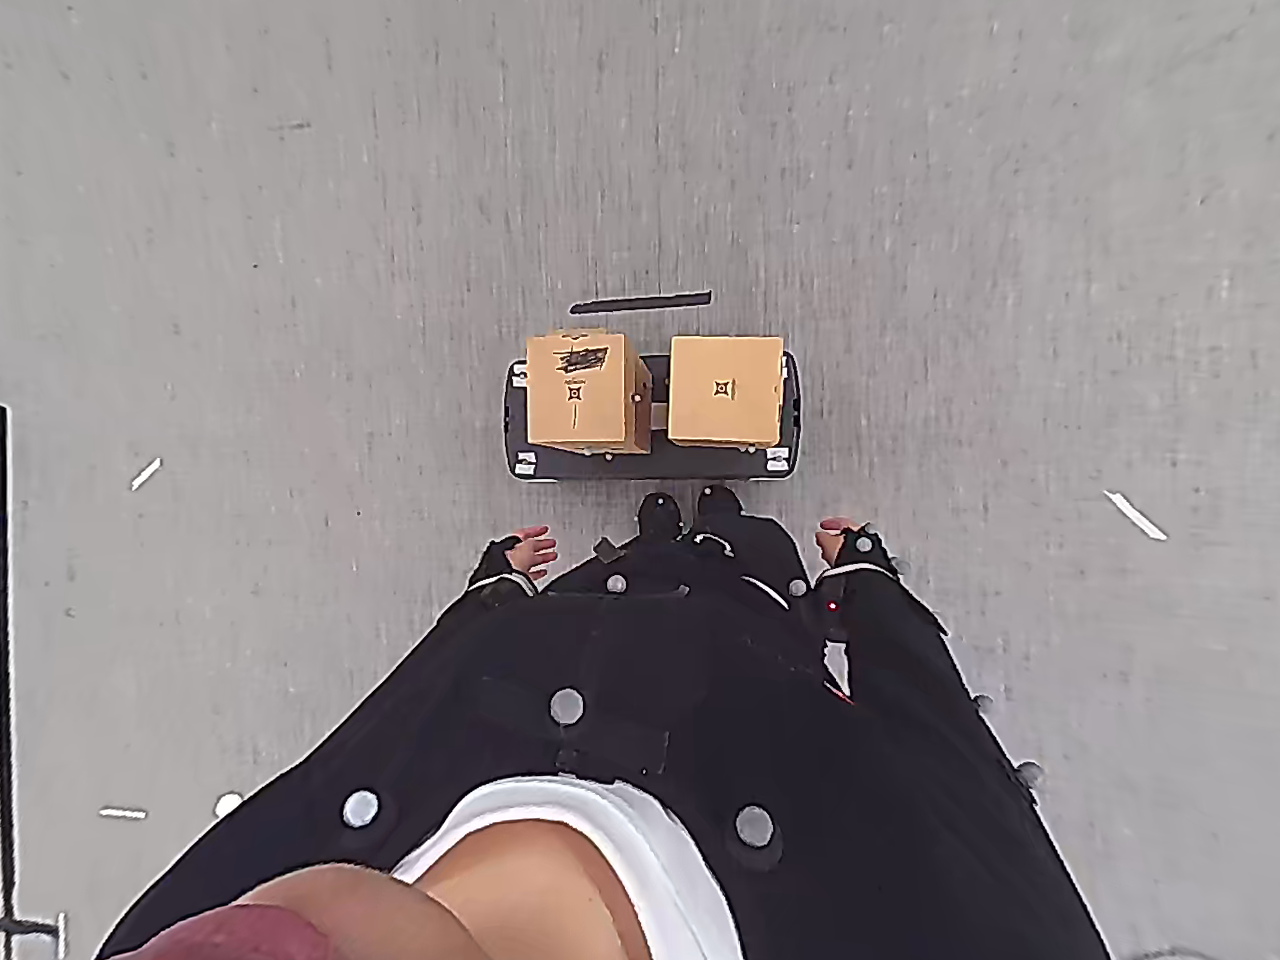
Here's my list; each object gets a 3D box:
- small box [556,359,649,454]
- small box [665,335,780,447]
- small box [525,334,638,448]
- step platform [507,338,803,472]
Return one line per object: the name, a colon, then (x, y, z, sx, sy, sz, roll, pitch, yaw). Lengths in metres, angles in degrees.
small box: (-0.074, -0.147, 1.122, 0.168, 0.176, 0.179, 1, 90, 8)
small box: (0.139, -0.145, 0.930, 0.179, 0.176, 0.168, 2, 91, 7)
small box: (-0.097, -0.150, 0.959, 0.168, 0.176, 0.179, 1, 91, 8)
step platform: (0.032, -0.166, 1.283, 0.684, 0.204, 0.286, -1, 90, 8)
